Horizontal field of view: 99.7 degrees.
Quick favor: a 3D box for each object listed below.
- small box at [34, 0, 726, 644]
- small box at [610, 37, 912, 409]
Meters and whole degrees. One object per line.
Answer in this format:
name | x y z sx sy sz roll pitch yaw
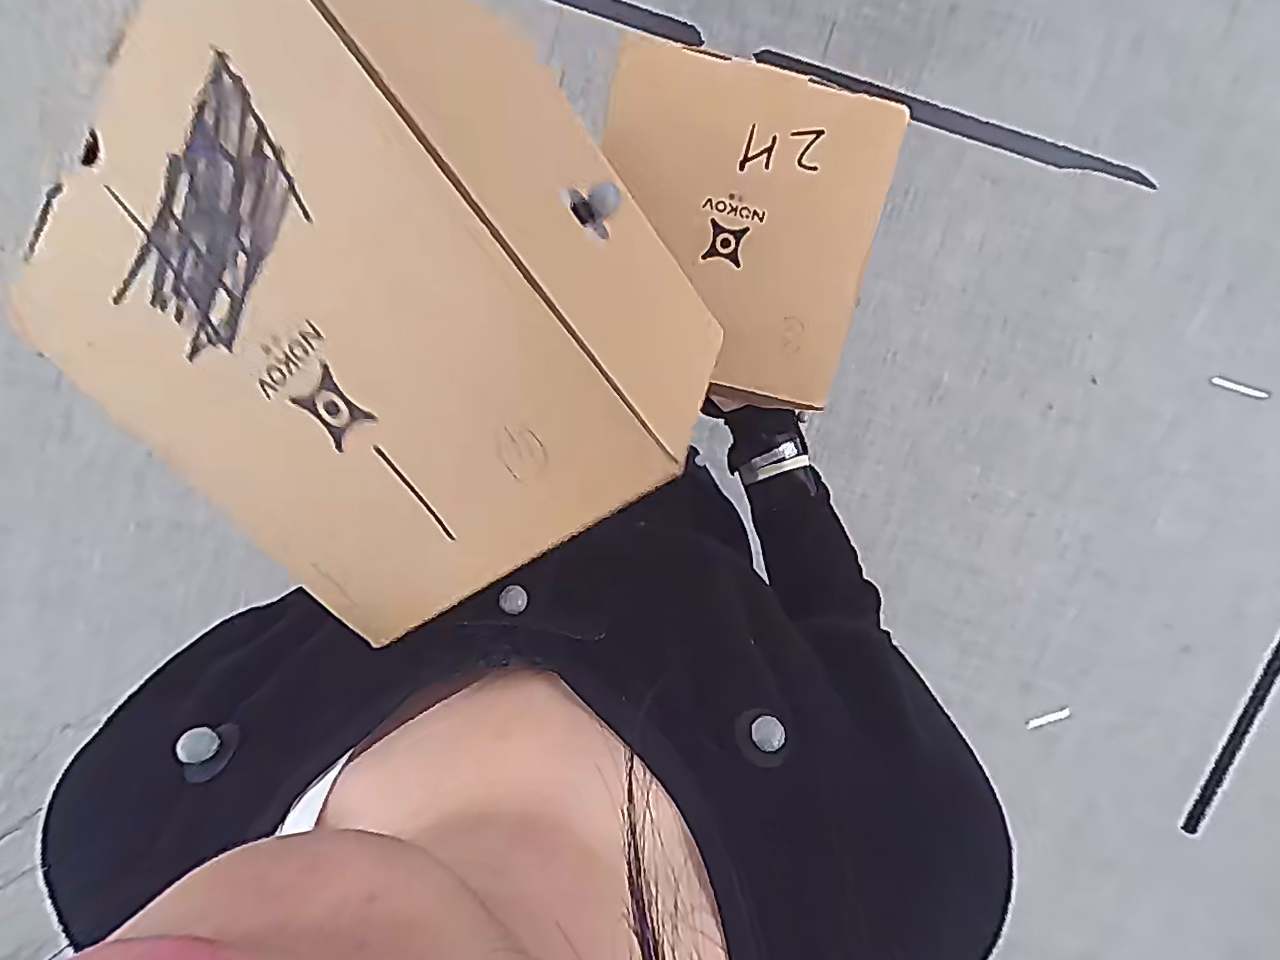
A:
small box | -0.077 -0.068 0.243 0.168 0.176 0.179 -31 108 26
small box | 0.056 -0.155 0.392 0.168 0.176 0.179 13 97 -3
